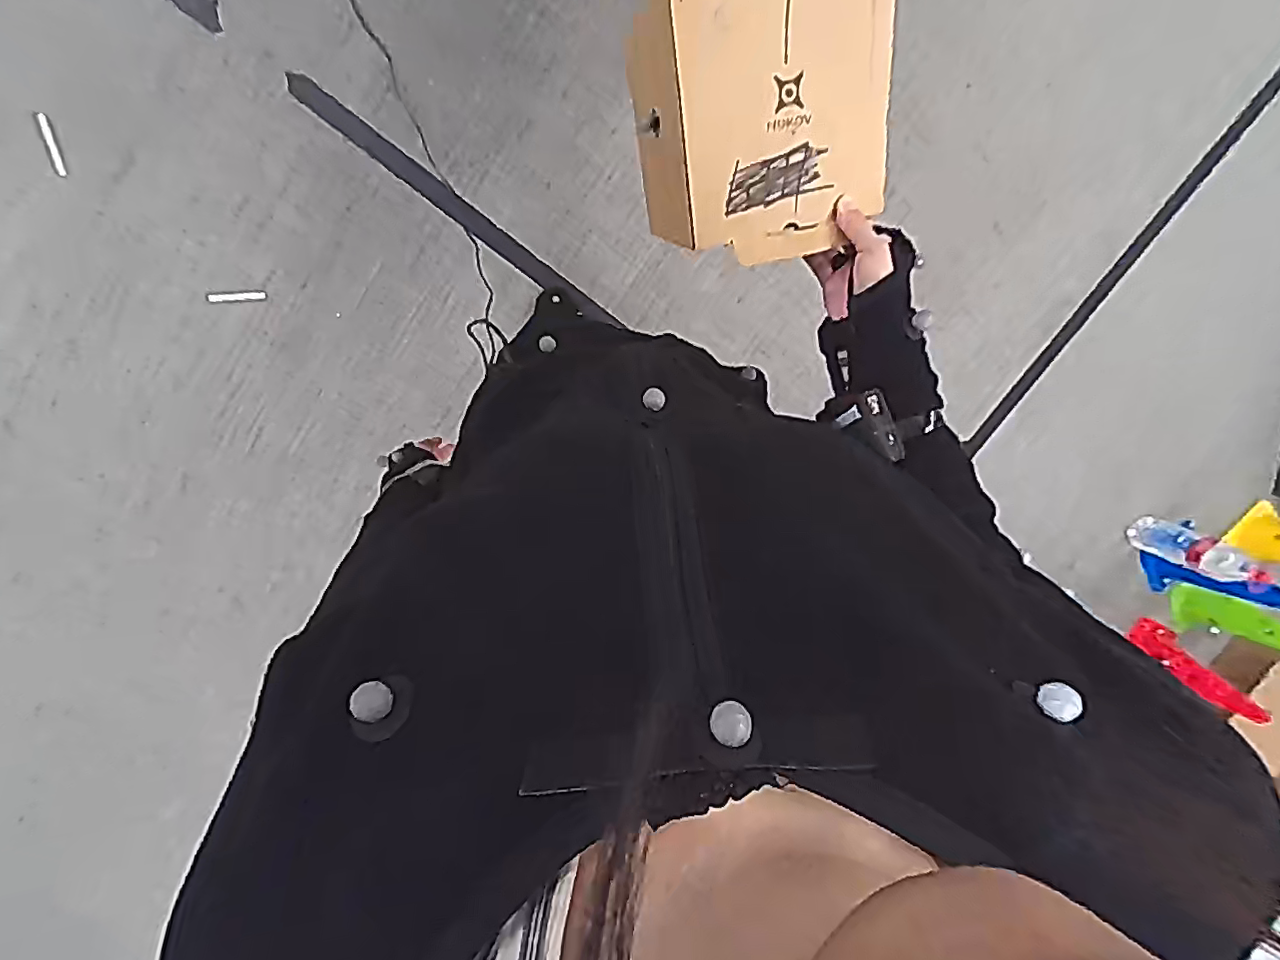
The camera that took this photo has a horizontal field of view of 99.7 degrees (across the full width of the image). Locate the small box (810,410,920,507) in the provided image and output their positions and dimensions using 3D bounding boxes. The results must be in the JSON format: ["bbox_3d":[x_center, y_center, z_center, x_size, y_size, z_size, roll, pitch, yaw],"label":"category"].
[{"bbox_3d":[0.589,-0.064,1.438,0.168,0.176,0.179,40,98,-18],"label":"small box"}]

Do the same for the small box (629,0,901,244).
[{"bbox_3d":[0.094,-0.317,0.461,0.168,0.176,0.179,-14,120,-5],"label":"small box"}]
